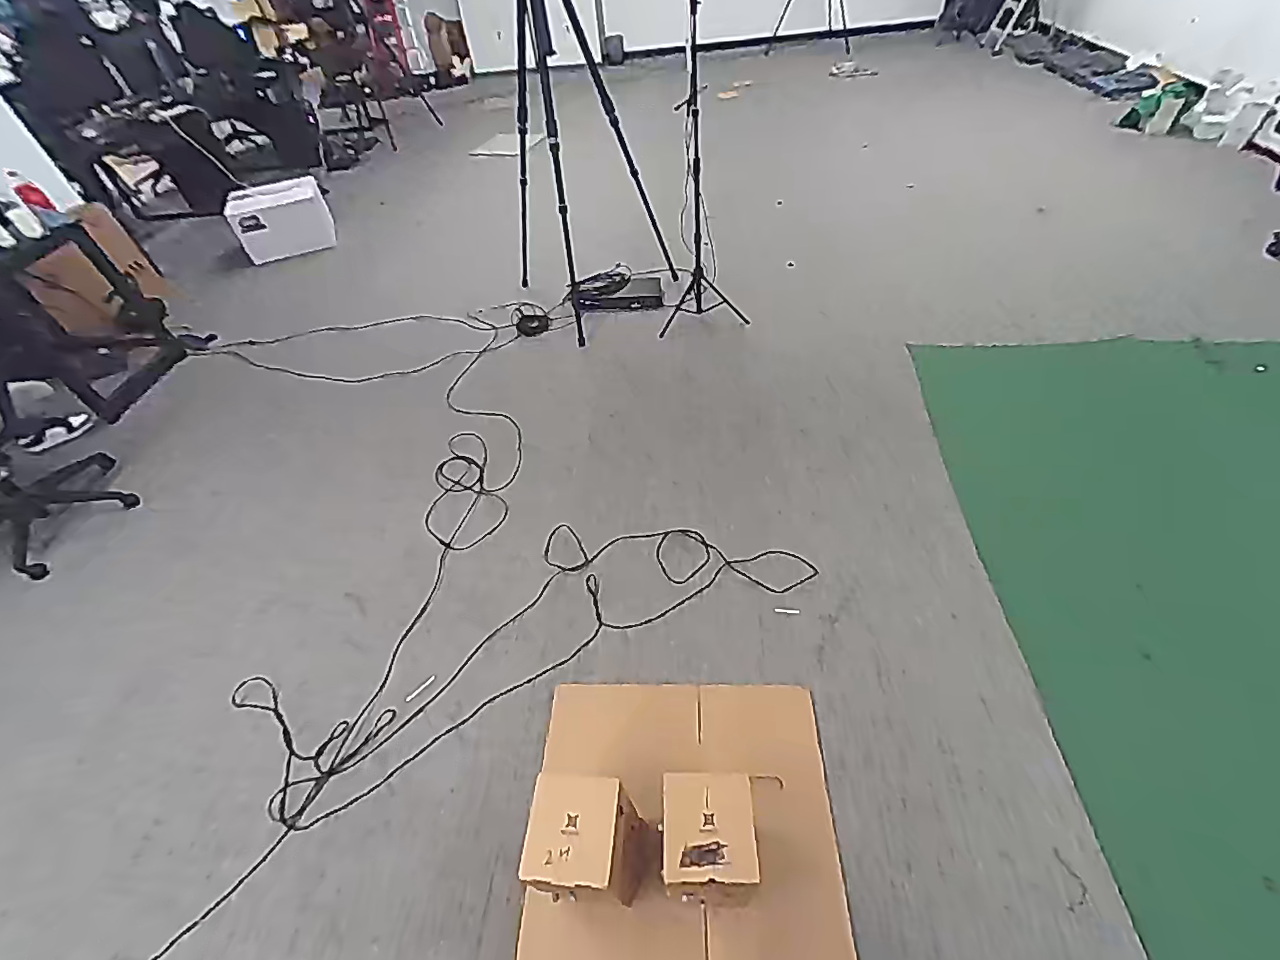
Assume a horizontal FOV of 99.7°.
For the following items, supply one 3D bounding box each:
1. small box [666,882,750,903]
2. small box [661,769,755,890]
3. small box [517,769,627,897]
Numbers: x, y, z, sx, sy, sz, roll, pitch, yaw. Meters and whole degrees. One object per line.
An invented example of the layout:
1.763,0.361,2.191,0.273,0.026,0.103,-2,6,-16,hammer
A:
0.139,0.787,1.159,0.168,0.176,0.179,-2,48,5,small box
0.127,0.674,1.040,0.168,0.176,0.179,-3,47,4,small box
-0.121,0.688,1.054,0.168,0.176,0.179,0,48,8,small box
